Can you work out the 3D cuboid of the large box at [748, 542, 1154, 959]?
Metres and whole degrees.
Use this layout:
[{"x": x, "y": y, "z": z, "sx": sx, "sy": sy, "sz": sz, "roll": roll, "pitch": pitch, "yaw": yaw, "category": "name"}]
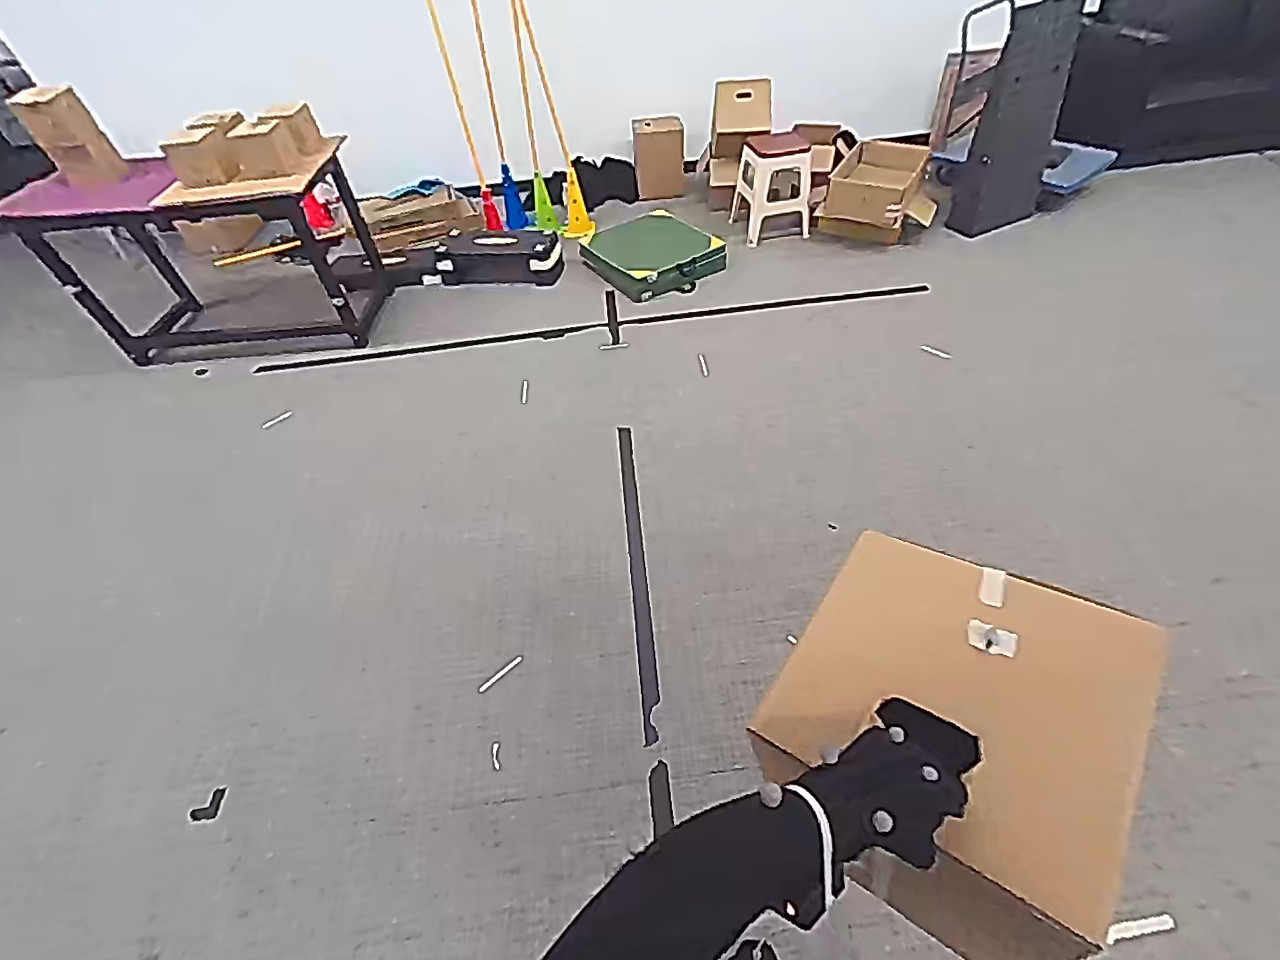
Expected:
[{"x": 0.383, "y": 0.351, "z": 0.699, "sx": 0.320, "sy": 0.408, "sz": 0.320, "roll": 21, "pitch": 58, "yaw": 39, "category": "large box"}]
